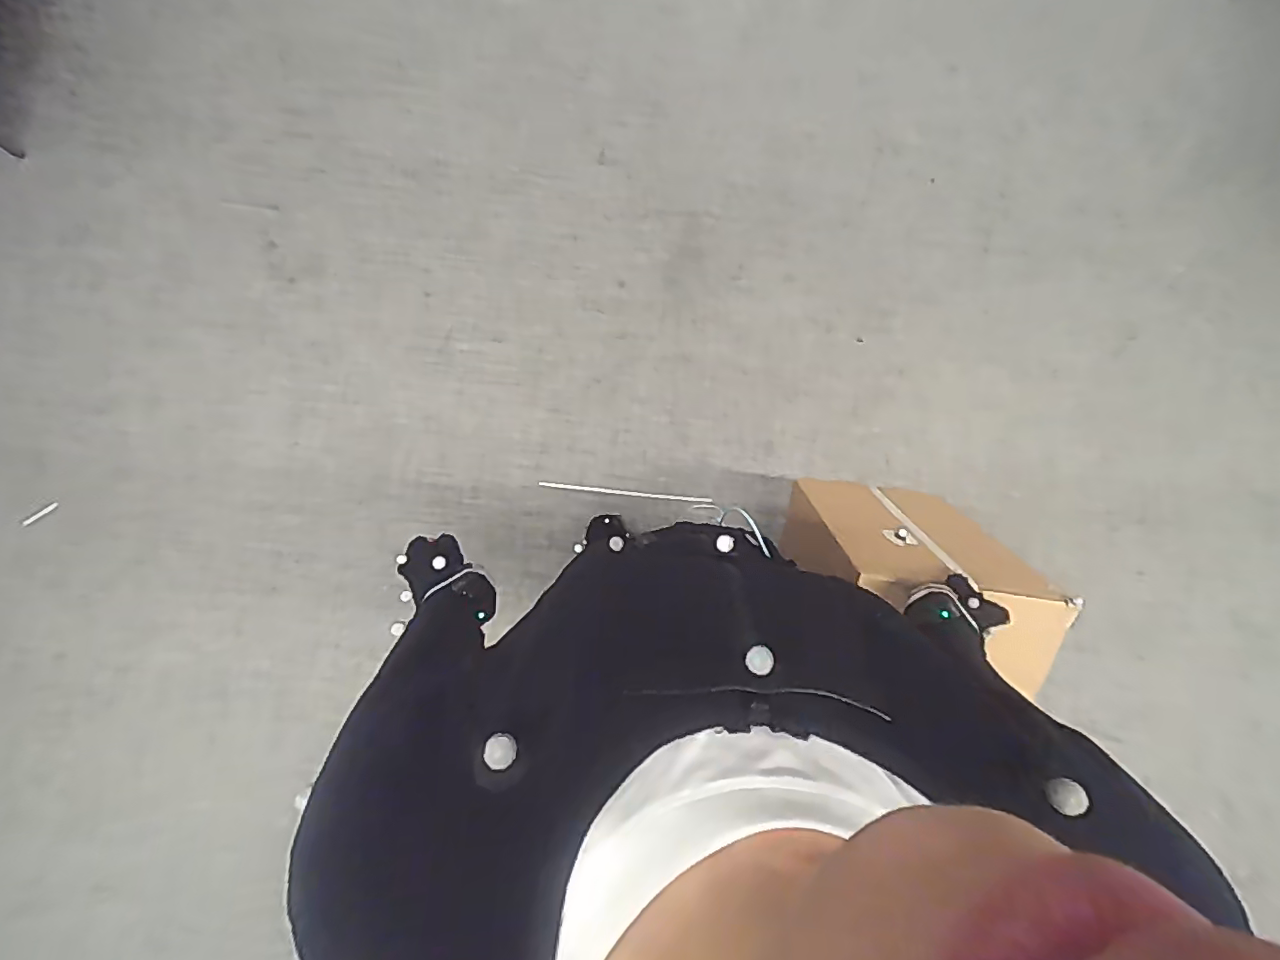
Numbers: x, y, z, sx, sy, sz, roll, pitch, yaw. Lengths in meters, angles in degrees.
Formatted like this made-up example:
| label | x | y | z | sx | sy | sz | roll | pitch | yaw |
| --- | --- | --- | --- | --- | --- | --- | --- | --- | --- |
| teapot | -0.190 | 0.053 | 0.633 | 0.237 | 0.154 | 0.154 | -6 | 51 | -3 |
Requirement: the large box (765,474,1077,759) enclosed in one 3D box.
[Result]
| label | x | y | z | sx | sy | sz | roll | pitch | yaw |
| --- | --- | --- | --- | --- | --- | --- | --- | --- | --- |
| large box | 0.446 | 0.218 | 0.987 | 0.320 | 0.408 | 0.320 | 7 | 111 | 0 |
